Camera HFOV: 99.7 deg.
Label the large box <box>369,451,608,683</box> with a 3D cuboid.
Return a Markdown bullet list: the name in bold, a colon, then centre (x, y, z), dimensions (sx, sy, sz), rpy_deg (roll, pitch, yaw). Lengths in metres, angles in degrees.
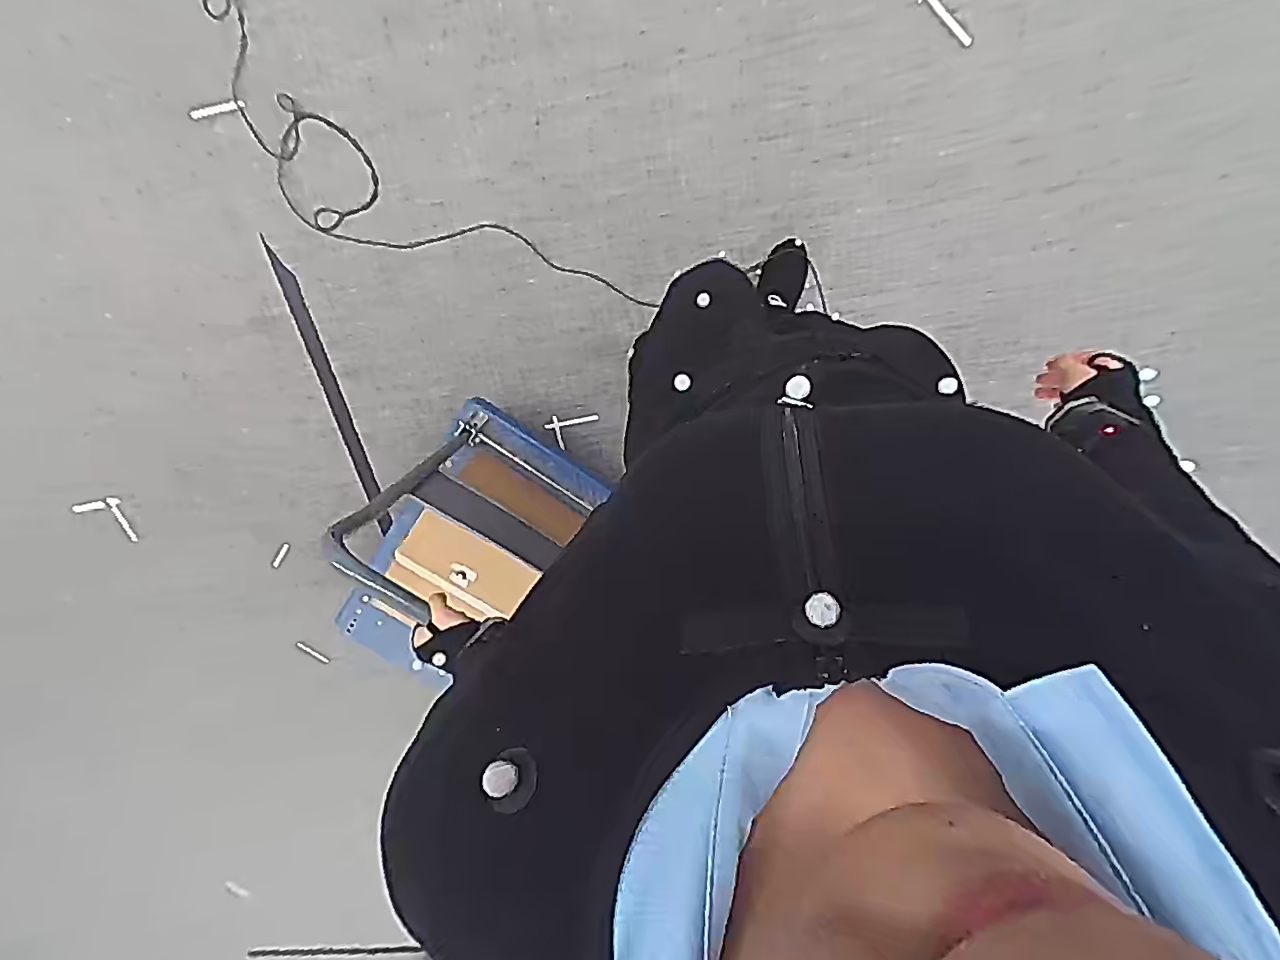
- **large box**: centre (-0.338, 0.198, 1.305), dimensions (0.408, 0.320, 0.320), rpy_deg (35, 111, -10)
